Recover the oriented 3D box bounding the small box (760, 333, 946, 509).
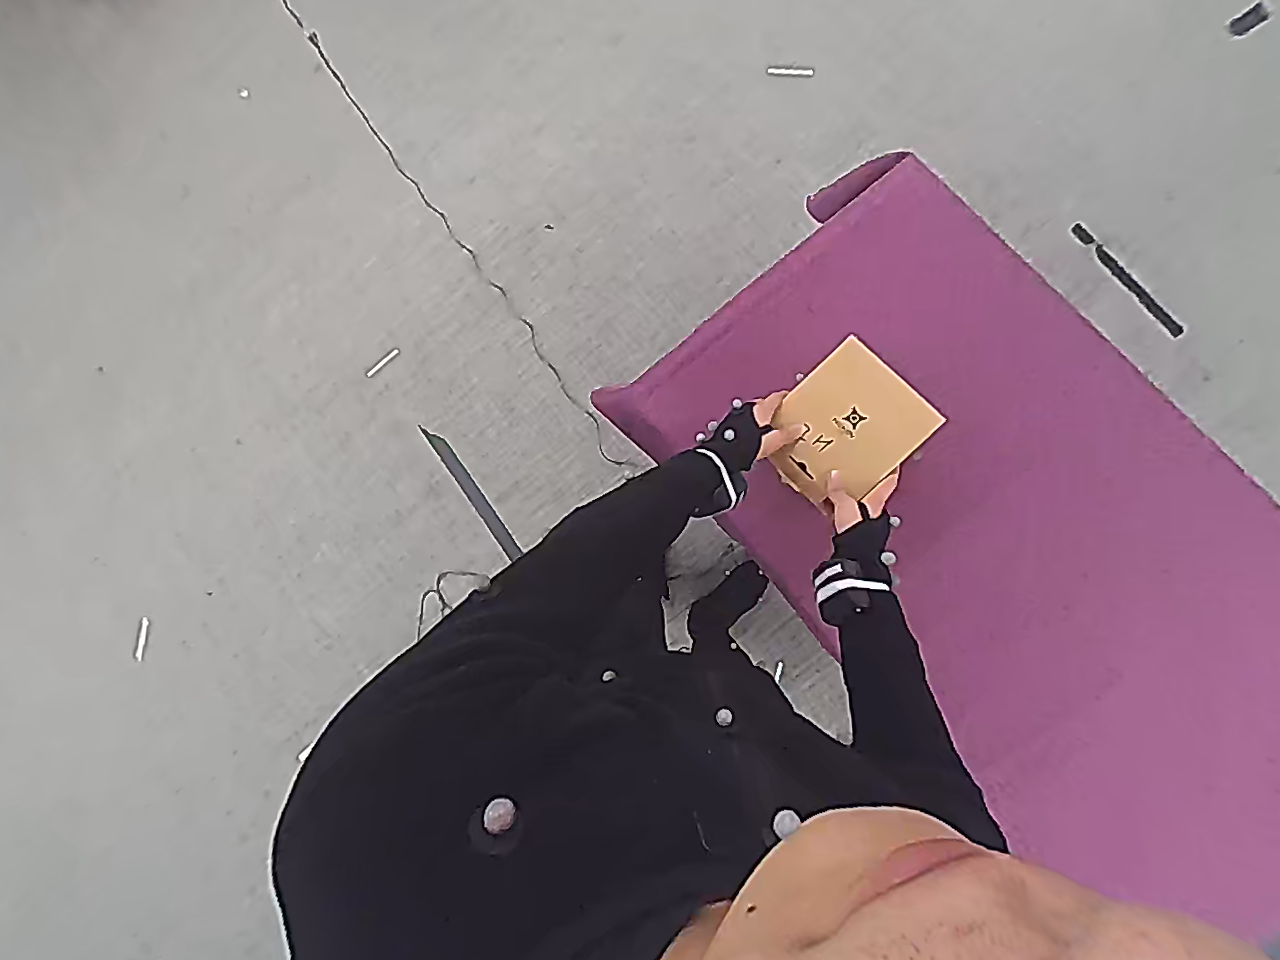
[{"bbox_3d":[0.289,-0.075,0.786,0.179,0.176,0.168,-44,79,4],"label":"small box"}]
